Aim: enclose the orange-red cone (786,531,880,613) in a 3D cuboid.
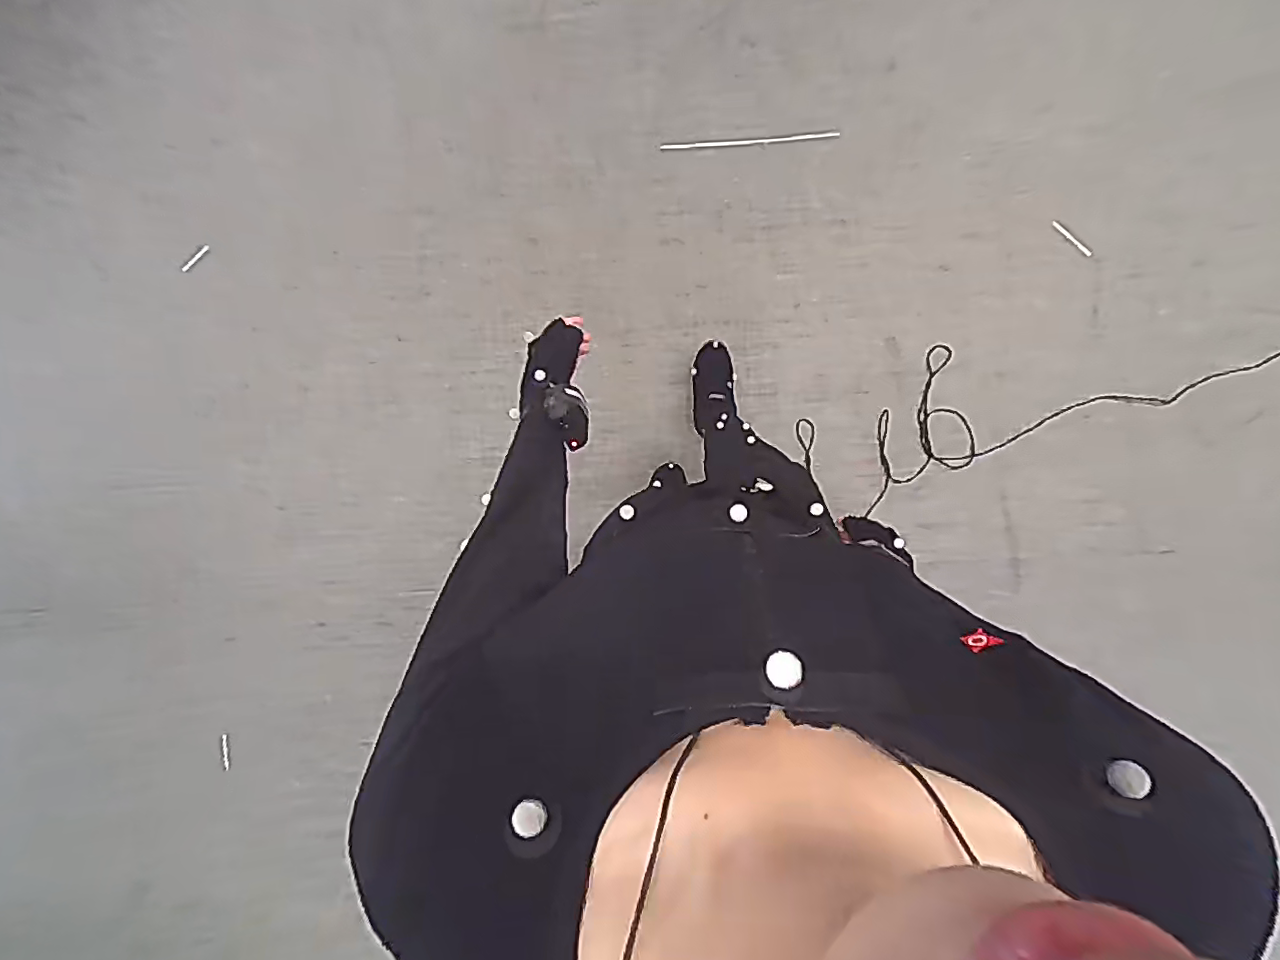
[{"bbox_3d":[0.504,0.257,1.333,0.198,0.360,0.199,2,95,2],"label":"orange-red cone"}]
